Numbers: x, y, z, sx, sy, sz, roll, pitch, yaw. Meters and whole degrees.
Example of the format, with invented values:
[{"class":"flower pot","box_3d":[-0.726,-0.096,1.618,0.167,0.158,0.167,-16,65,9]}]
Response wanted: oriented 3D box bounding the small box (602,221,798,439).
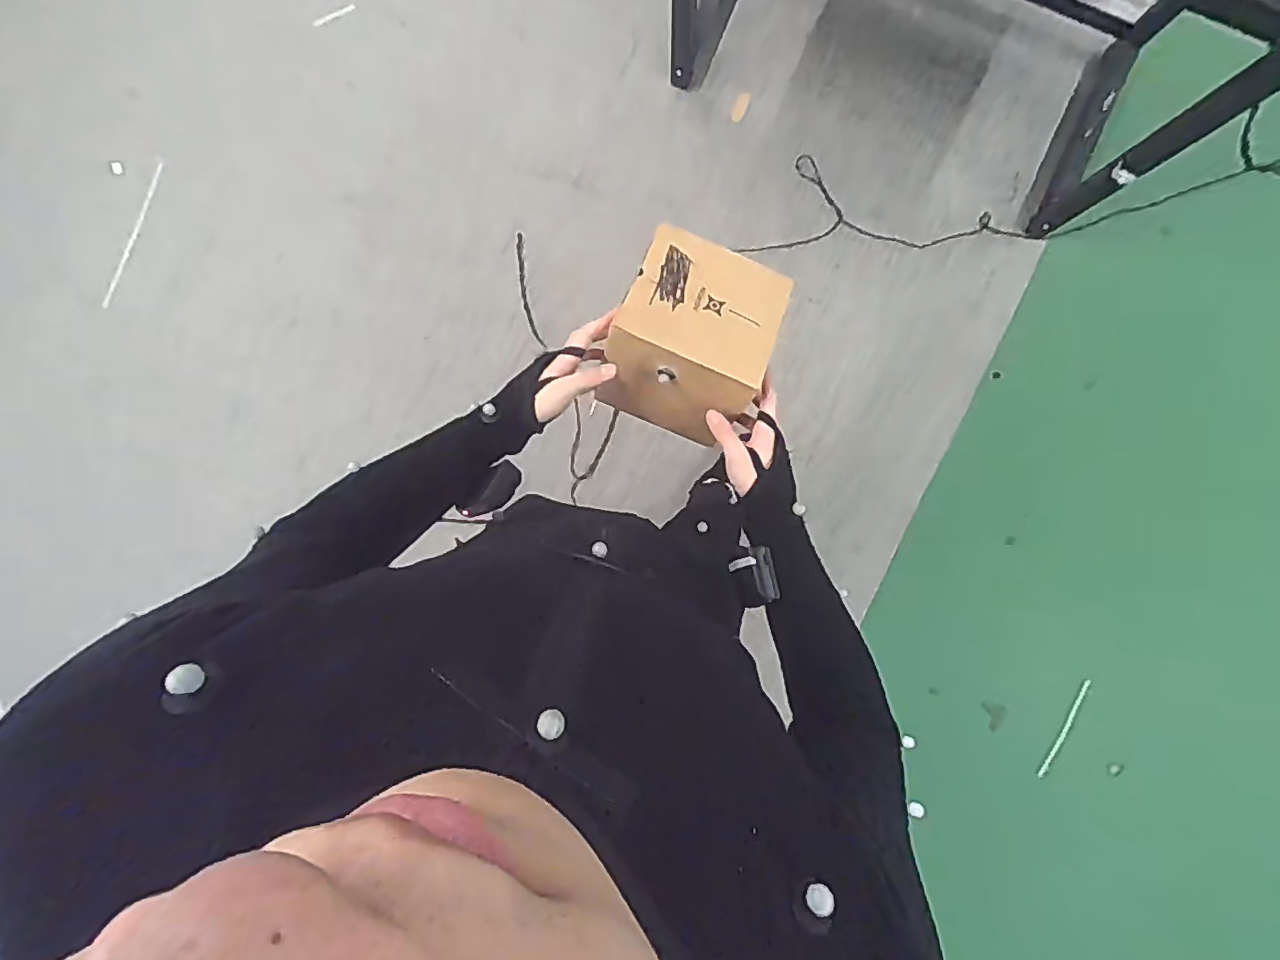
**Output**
[{"class":"small box","box_3d":[0.065,-0.175,0.677,0.179,0.176,0.168,24,67,-3]}]
